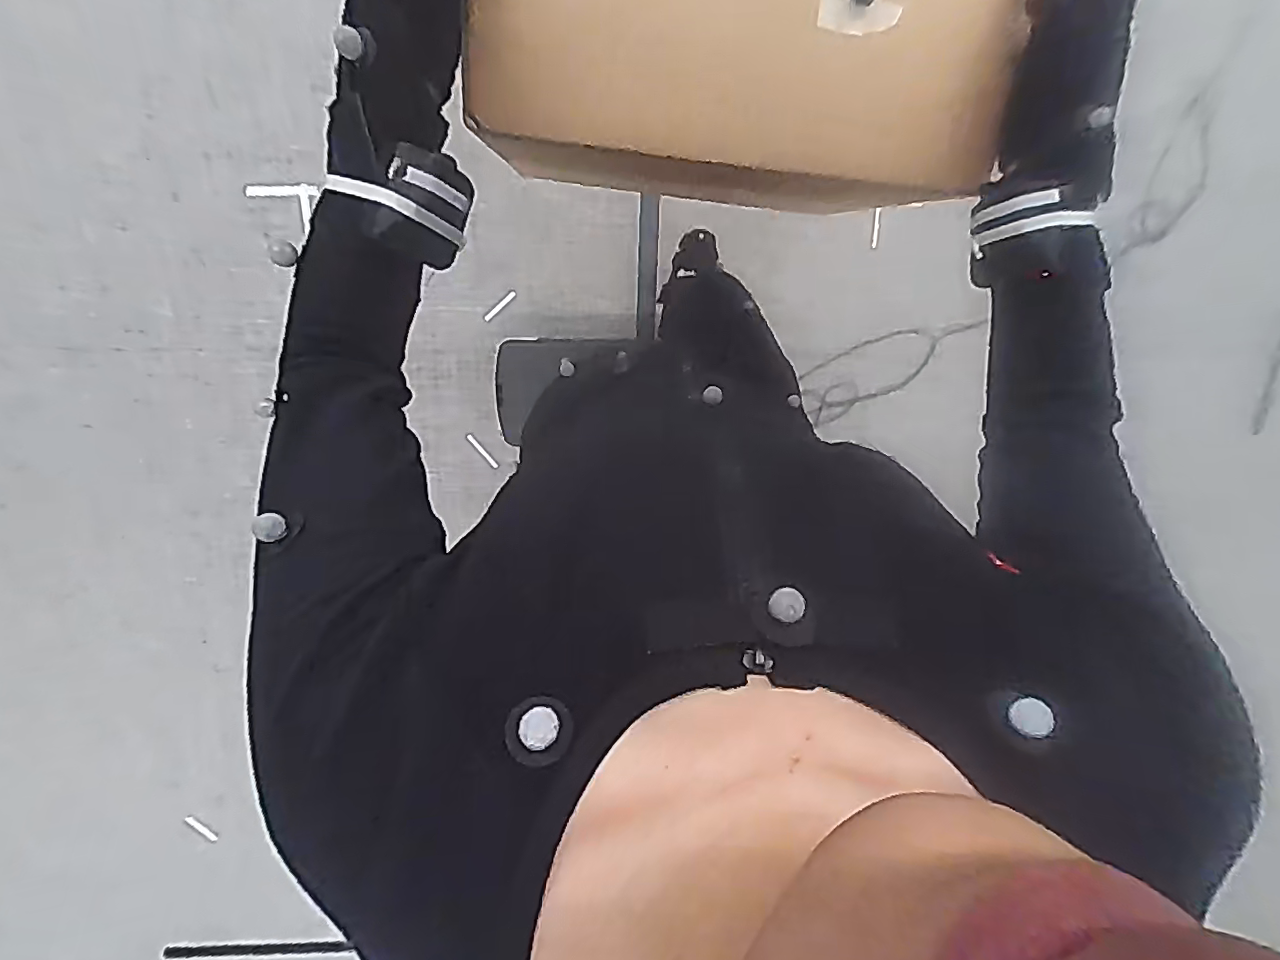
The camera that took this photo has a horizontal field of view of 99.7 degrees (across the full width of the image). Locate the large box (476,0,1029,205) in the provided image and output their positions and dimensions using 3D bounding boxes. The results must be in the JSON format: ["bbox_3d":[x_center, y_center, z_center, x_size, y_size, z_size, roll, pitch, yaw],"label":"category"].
[{"bbox_3d":[0.074,-0.449,0.494,0.408,0.320,0.320,3,114,-7],"label":"large box"}]
